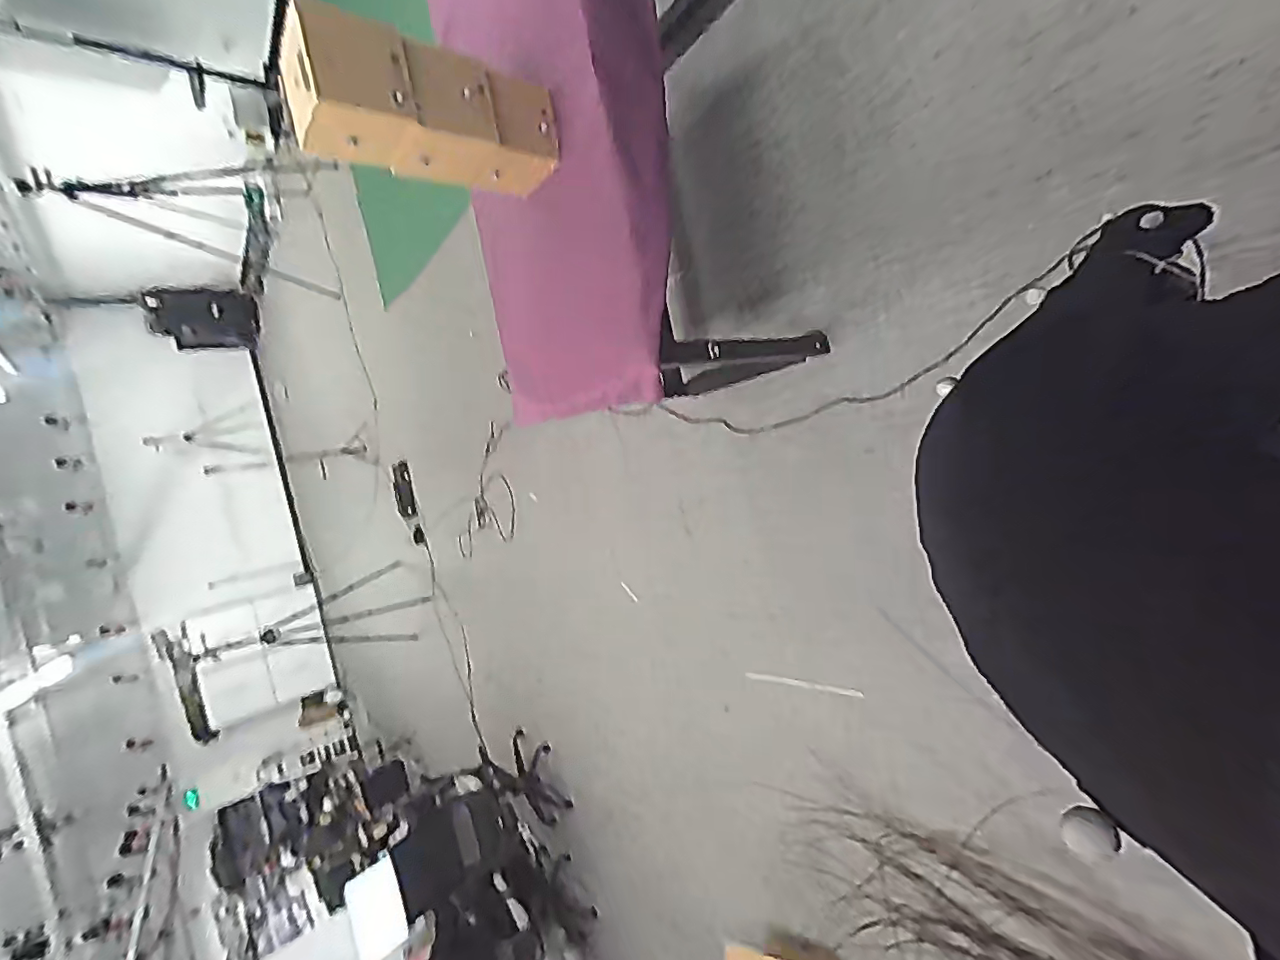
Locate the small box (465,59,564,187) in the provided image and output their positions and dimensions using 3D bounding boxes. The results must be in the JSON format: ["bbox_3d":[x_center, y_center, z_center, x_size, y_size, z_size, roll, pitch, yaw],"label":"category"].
[{"bbox_3d":[-0.295,-0.787,1.216,0.179,0.176,0.168,-3,99,49],"label":"small box"}]

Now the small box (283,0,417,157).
[{"bbox_3d":[-0.524,-0.725,0.987,0.179,0.176,0.168,-4,98,51],"label":"small box"}]

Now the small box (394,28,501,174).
[{"bbox_3d":[-0.406,-0.752,1.100,0.179,0.176,0.168,-6,98,50],"label":"small box"}]
